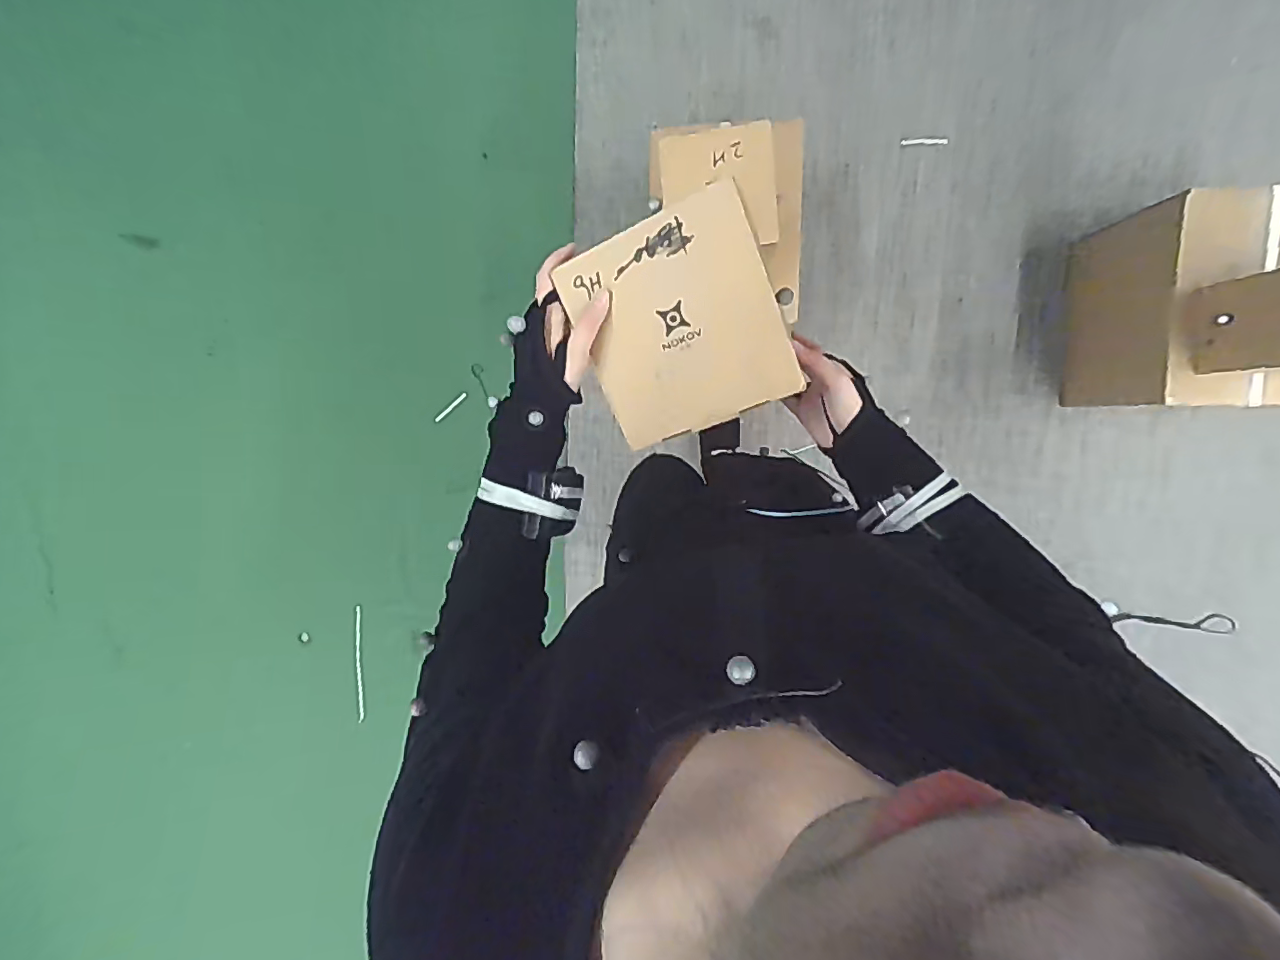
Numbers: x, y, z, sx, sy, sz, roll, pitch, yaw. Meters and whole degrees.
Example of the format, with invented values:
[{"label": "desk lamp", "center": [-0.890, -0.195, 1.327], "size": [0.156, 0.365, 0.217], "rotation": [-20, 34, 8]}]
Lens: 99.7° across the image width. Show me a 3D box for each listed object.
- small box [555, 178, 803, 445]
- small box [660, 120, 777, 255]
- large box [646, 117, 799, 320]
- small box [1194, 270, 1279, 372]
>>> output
[{"label": "small box", "center": [0.051, -0.162, 0.524], "size": [0.168, 0.176, 0.179], "rotation": [-19, 108, 21]}, {"label": "small box", "center": [0.125, -0.433, 0.870], "size": [0.168, 0.176, 0.179], "rotation": [-4, 95, 6]}, {"label": "large box", "center": [0.186, -0.544, 1.263], "size": [0.320, 0.320, 0.408], "rotation": [1, 96, 6]}, {"label": "small box", "center": [1.151, -0.280, 0.951], "size": [0.179, 0.176, 0.168], "rotation": [-1, 97, 7]}]
